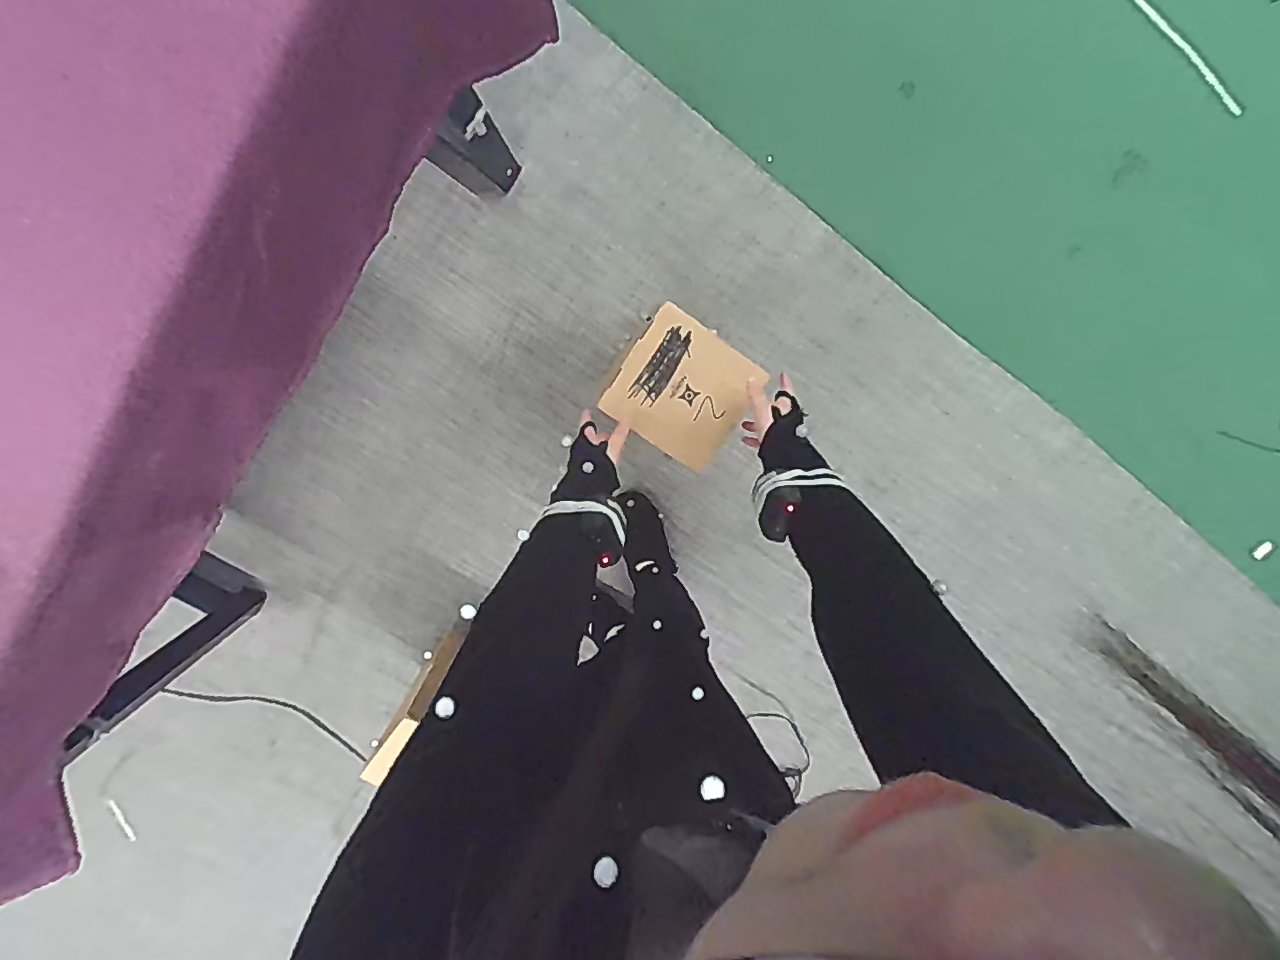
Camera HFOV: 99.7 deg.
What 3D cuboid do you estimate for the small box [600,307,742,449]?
[{"bbox_3d":[0.046,-0.182,0.950,0.179,0.176,0.168,34,99,-11],"label":"small box"}]
